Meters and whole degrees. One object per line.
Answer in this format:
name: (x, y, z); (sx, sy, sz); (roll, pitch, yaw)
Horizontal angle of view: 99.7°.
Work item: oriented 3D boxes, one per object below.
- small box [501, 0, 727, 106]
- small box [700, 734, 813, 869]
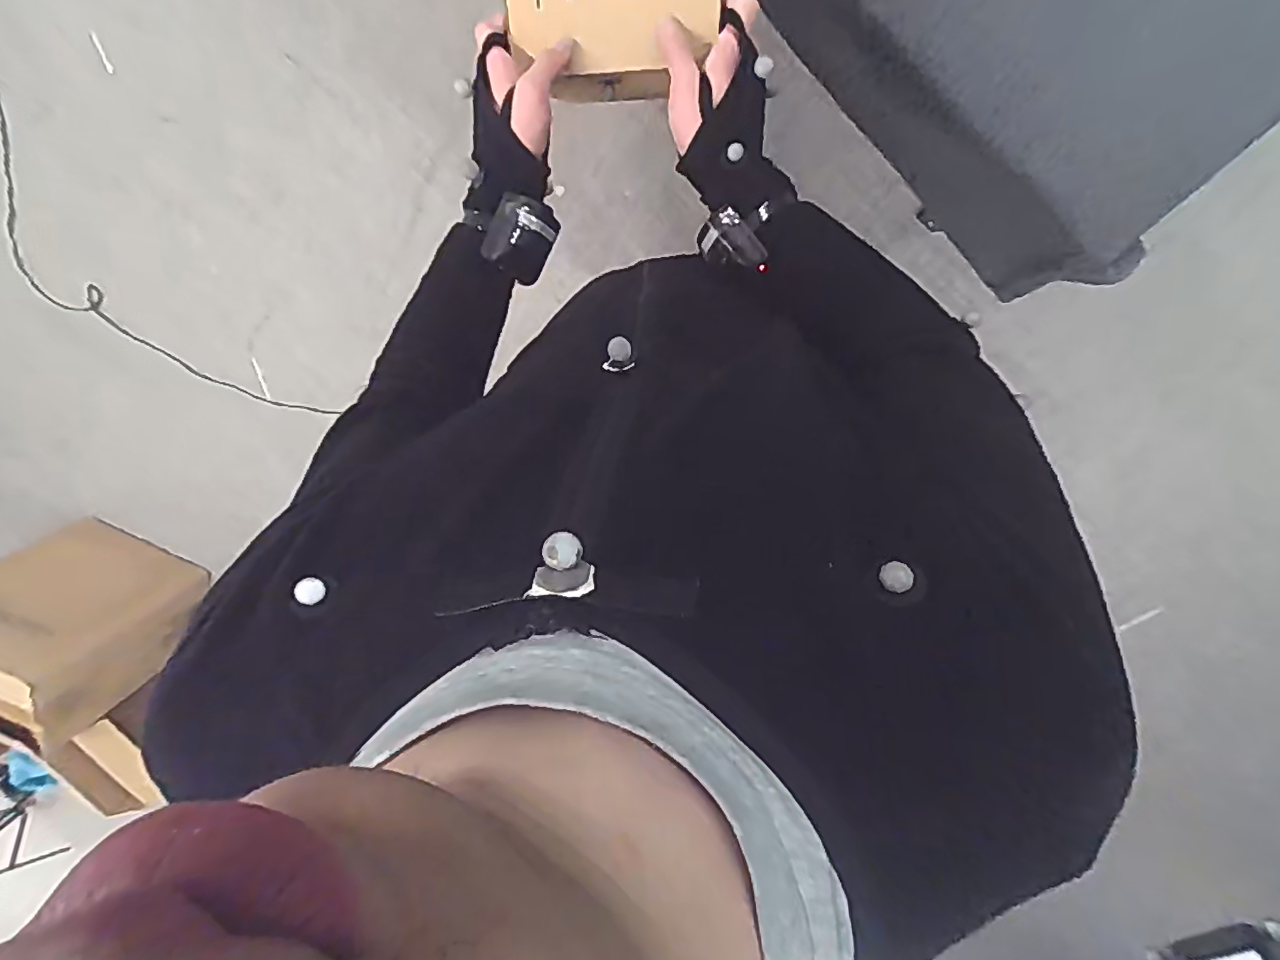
small box: (-0.014, -0.439, 0.472); (0.179, 0.176, 0.168); (2, 118, 8)
small box: (0.257, 0.708, 1.199); (0.168, 0.176, 0.179); (41, 115, -10)
